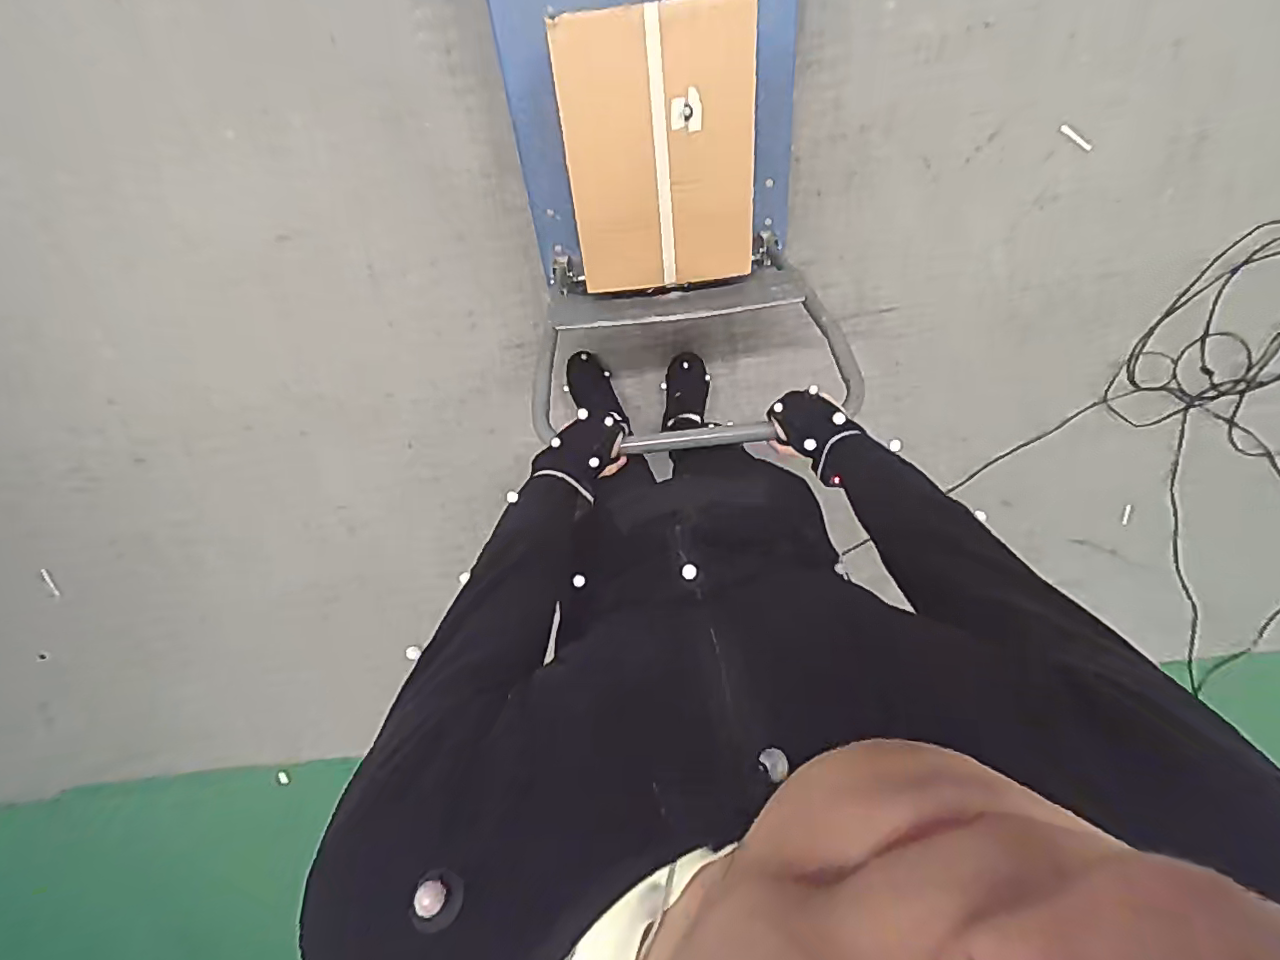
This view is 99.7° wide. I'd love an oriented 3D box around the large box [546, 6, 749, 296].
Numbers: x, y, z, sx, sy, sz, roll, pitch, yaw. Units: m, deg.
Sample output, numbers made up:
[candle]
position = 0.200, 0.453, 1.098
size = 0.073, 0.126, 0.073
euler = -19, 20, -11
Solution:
[large box]
position = 0.029, -0.616, 1.049
size = 0.320, 0.320, 0.408
euler = -6, 125, 2
